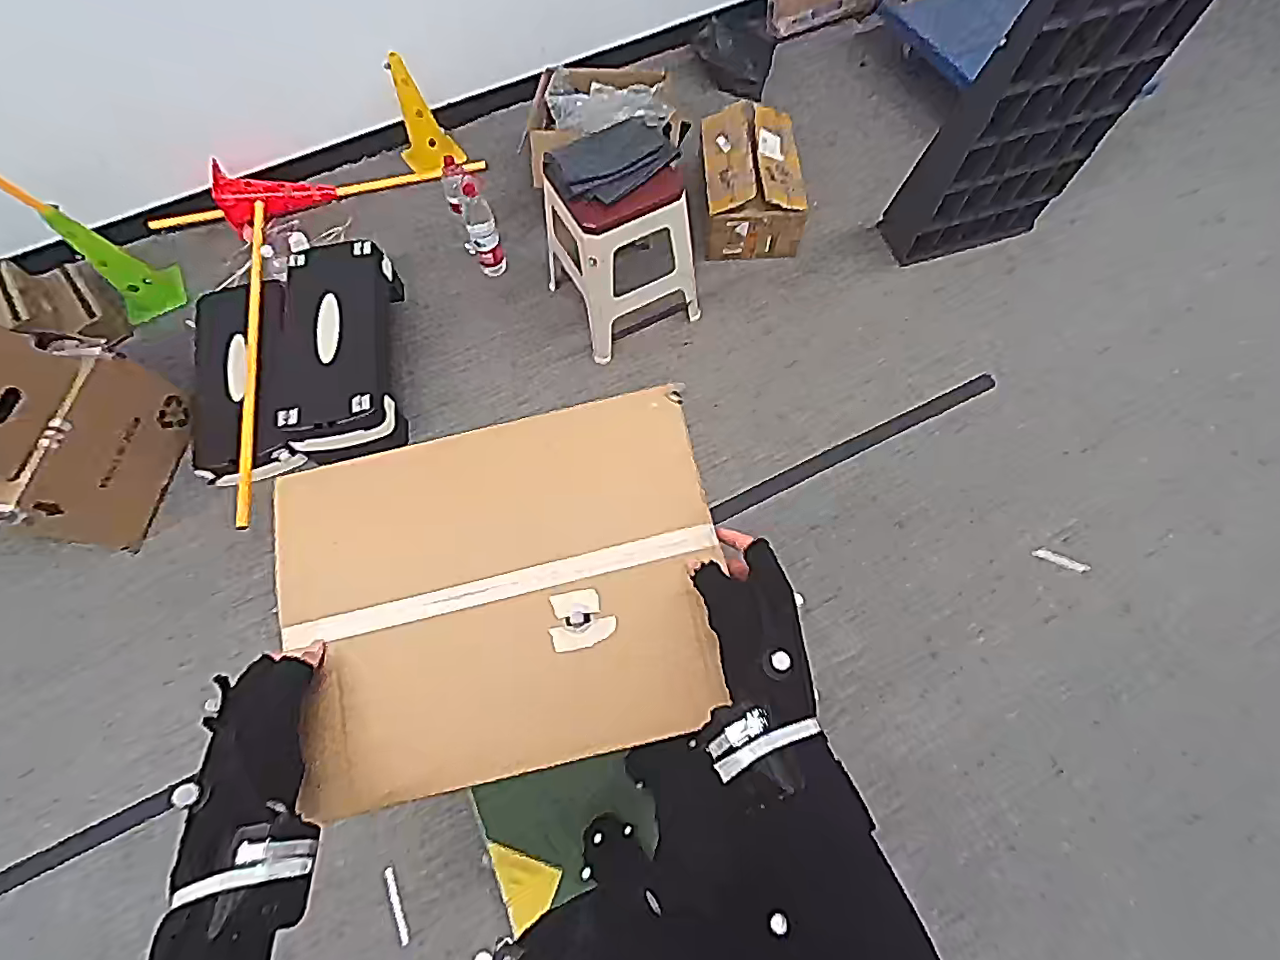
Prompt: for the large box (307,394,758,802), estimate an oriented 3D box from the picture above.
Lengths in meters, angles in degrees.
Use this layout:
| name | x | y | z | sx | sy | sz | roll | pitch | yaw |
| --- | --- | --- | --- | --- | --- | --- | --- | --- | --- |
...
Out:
| name | x | y | z | sx | sy | sz | roll | pitch | yaw |
| --- | --- | --- | --- | --- | --- | --- | --- | --- | --- |
| large box | -0.113 | 0.137 | 0.661 | 0.408 | 0.320 | 0.320 | -12 | 75 | -1 |
